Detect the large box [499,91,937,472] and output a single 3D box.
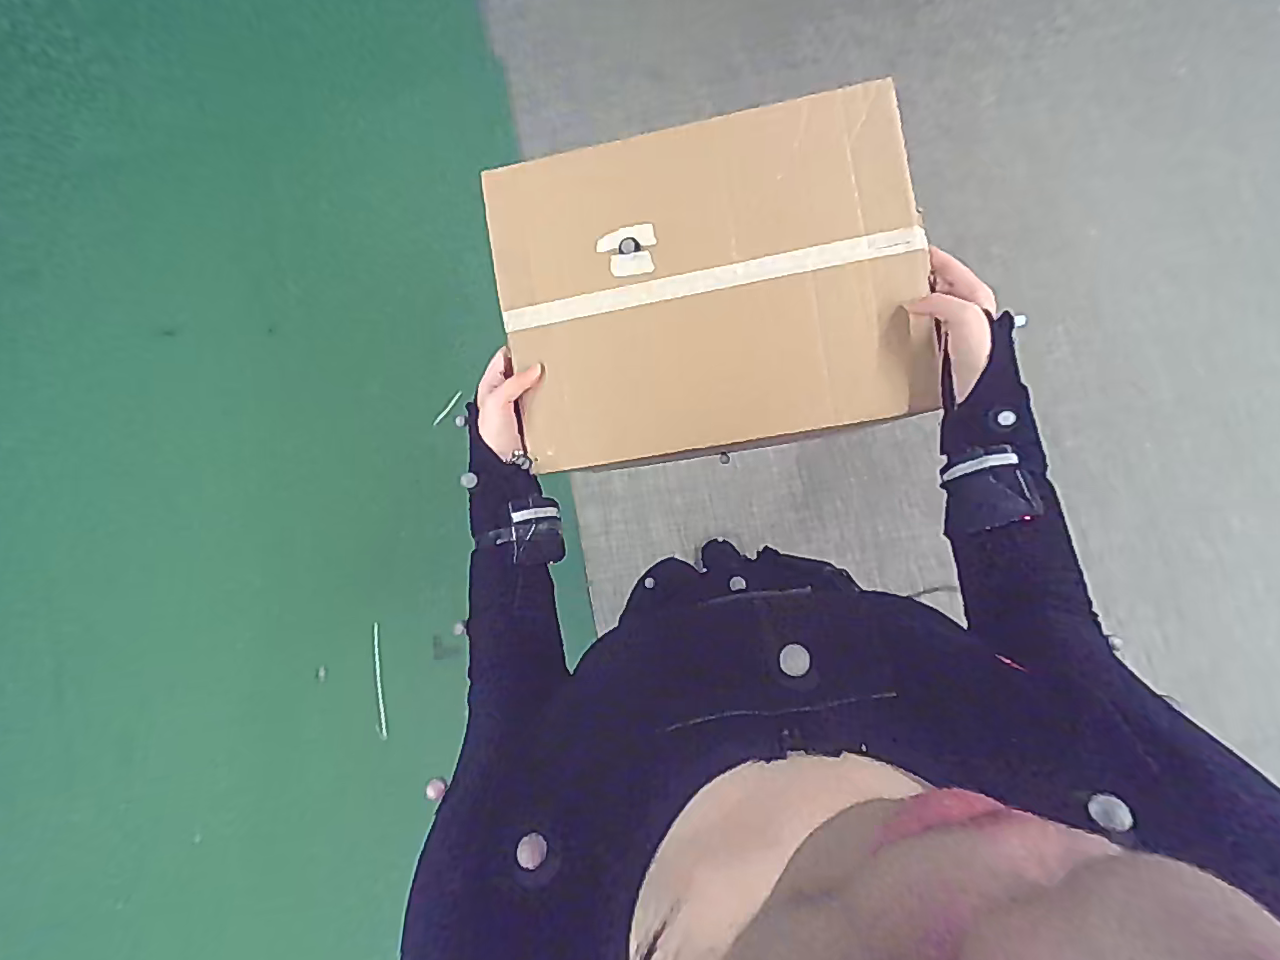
[{"bbox_3d":[0.089,-0.193,0.686,0.408,0.320,0.320,-8,89,8],"label":"large box"}]
